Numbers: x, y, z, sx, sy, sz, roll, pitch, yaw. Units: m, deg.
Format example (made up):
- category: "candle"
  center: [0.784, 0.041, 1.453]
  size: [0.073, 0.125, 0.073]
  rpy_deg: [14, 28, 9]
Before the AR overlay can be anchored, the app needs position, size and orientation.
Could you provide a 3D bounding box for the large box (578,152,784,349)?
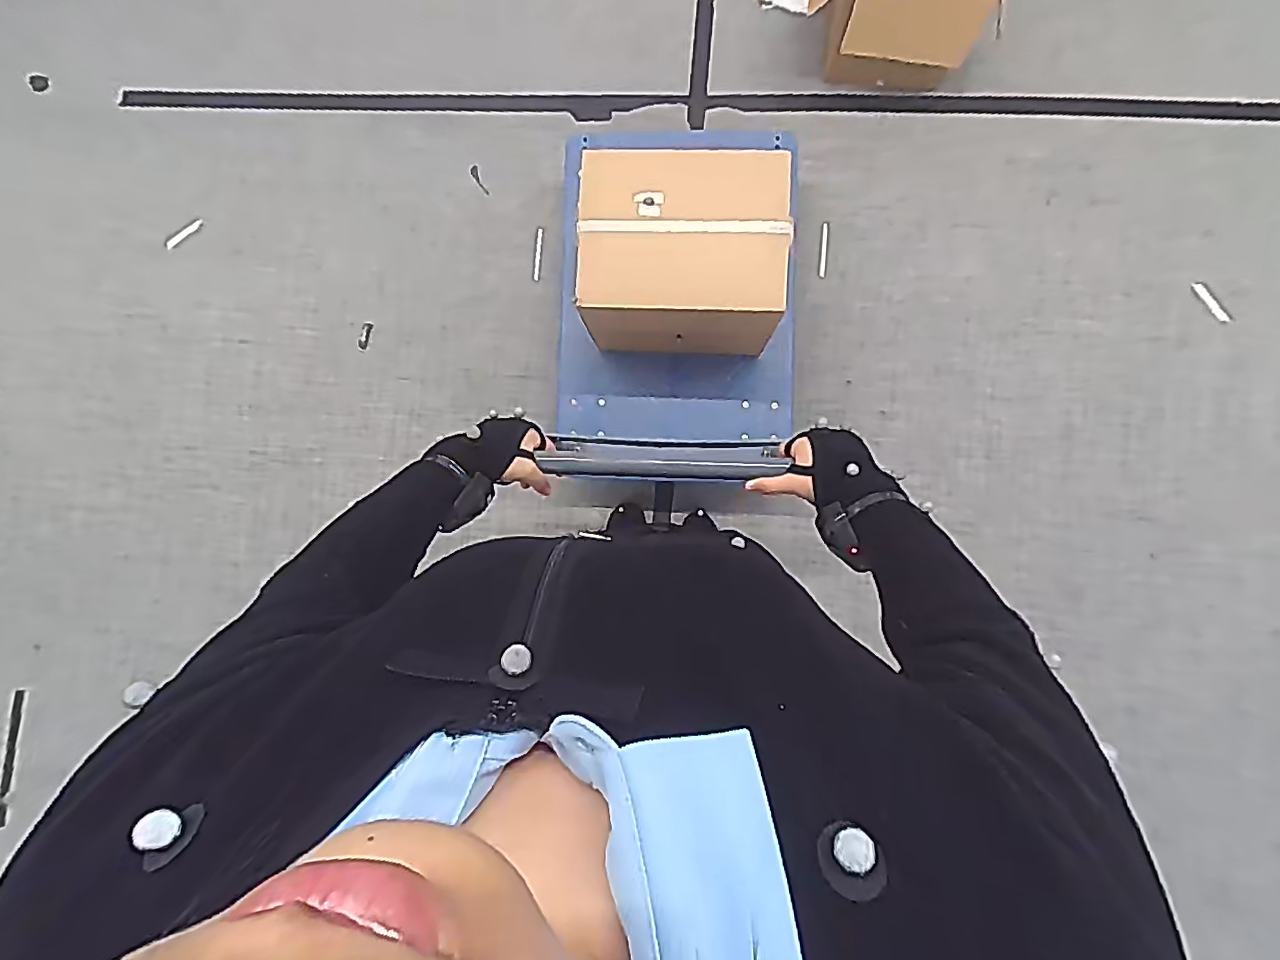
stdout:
- category: "large box"
  center: [0.093, -0.482, 1.205]
  size: [0.408, 0.320, 0.320]
  rpy_deg: [2, 87, 5]
